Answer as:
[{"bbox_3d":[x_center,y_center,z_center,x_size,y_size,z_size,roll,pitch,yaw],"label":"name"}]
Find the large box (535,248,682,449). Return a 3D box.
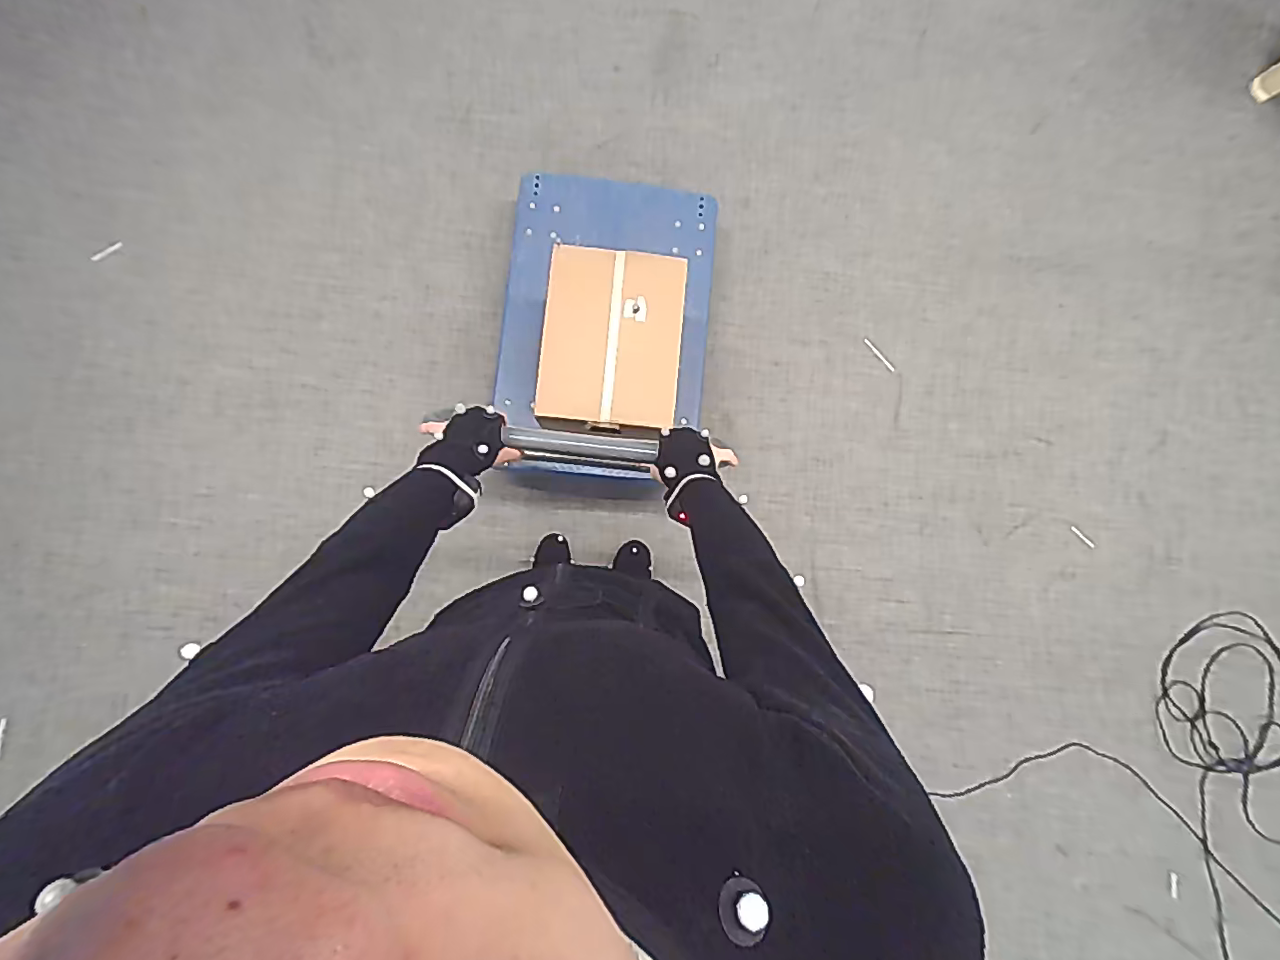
[{"bbox_3d":[-0.077,-0.306,1.368,0.320,0.320,0.408,5,83,-4],"label":"large box"}]
